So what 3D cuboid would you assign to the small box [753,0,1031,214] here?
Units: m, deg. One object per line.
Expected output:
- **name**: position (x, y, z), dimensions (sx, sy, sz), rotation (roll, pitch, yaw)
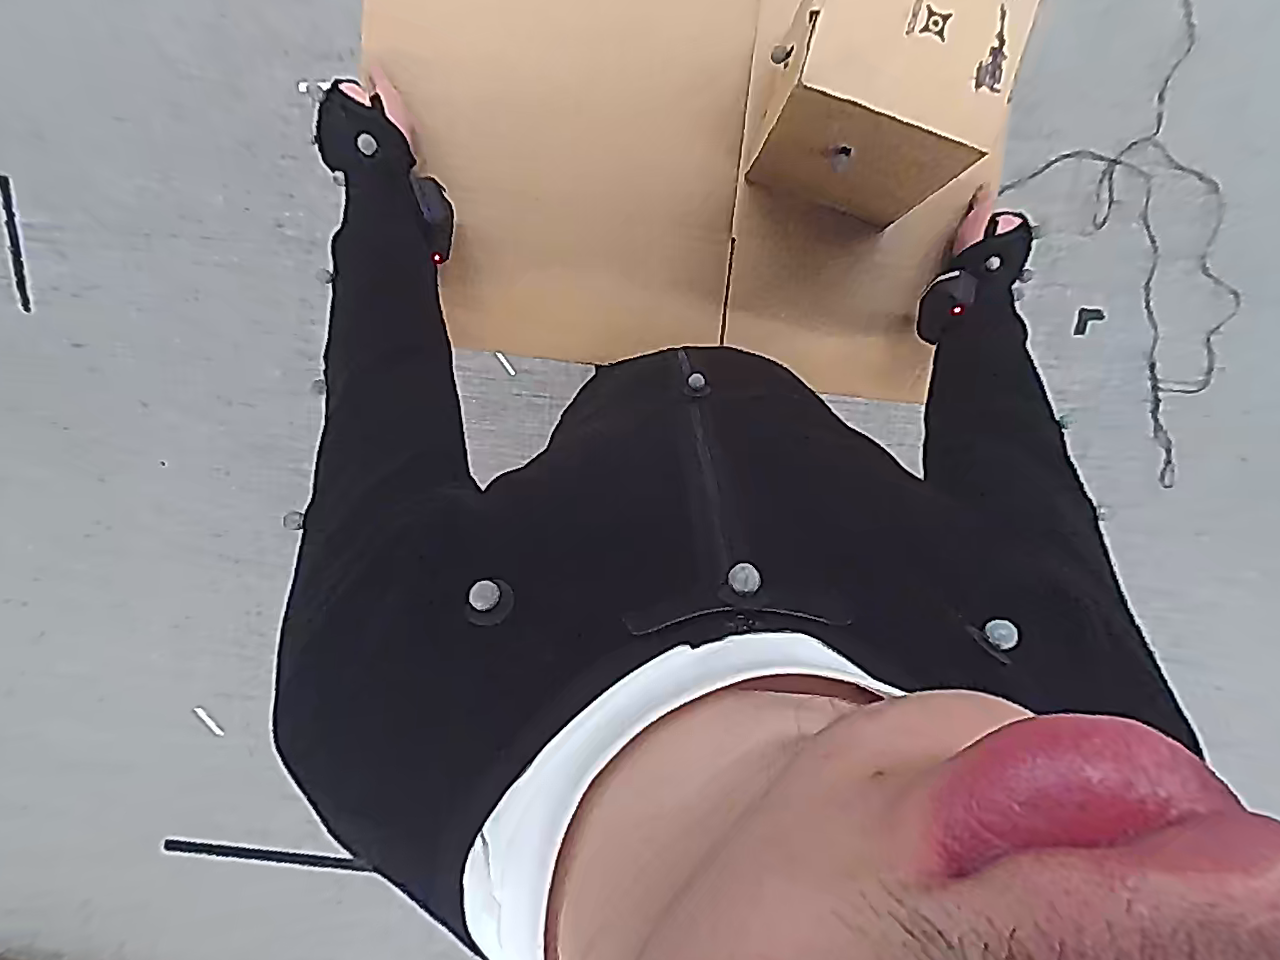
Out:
- **small box**: position (0.227, -0.389, 0.526), dimensions (0.179, 0.176, 0.168), rotation (16, 94, -4)
